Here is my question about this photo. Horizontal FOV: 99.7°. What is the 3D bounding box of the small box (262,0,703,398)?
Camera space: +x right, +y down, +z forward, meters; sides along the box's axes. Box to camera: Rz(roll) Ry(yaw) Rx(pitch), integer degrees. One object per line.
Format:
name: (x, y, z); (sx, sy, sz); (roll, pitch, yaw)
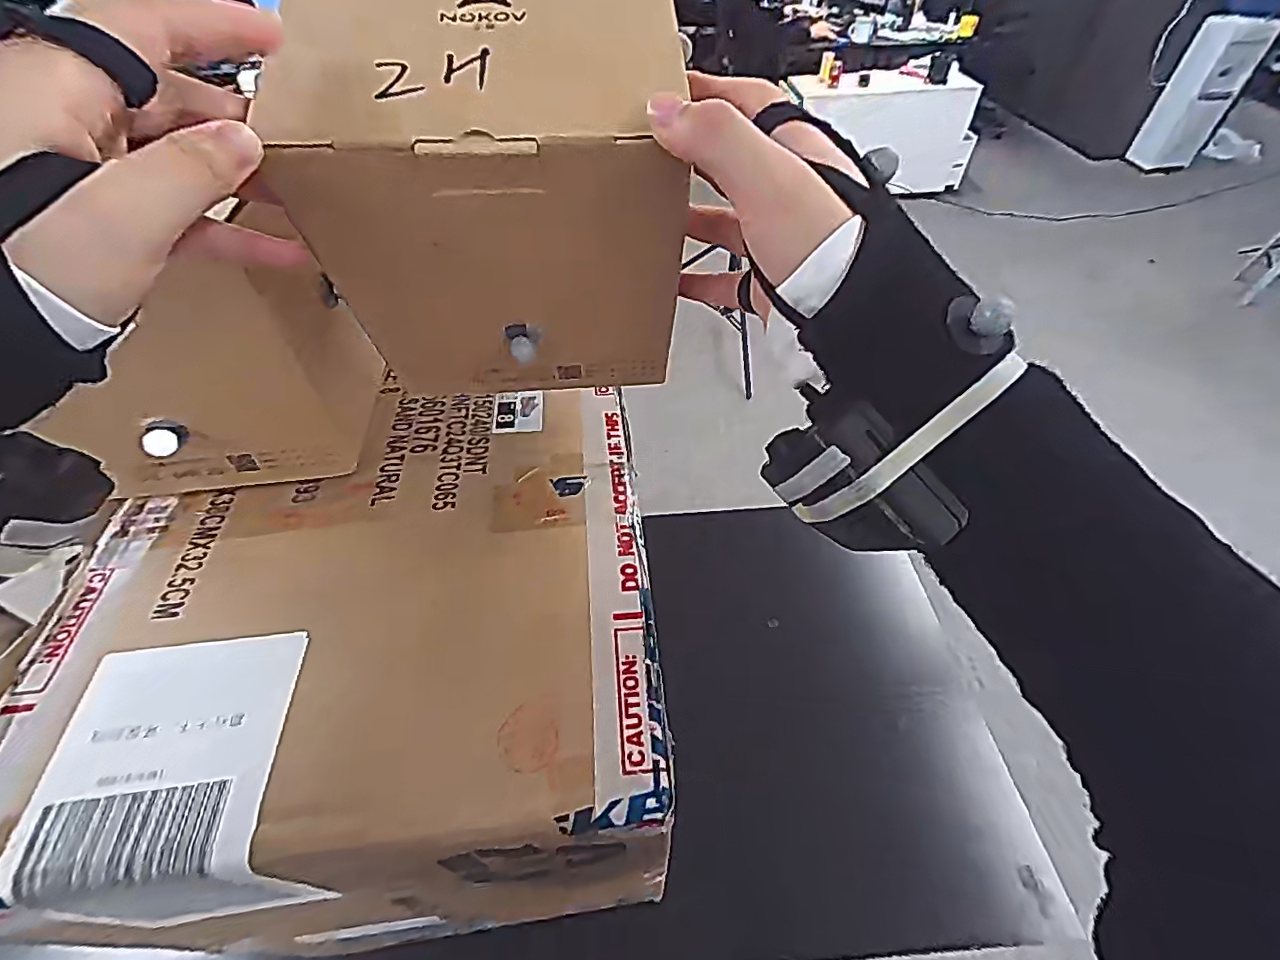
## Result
small box: (-0.065, -0.167, 0.308); (0.168, 0.176, 0.179); (-4, 67, -3)

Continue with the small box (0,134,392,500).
small box: (-0.280, -0.110, 0.357); (0.168, 0.176, 0.179); (-6, 47, -7)
